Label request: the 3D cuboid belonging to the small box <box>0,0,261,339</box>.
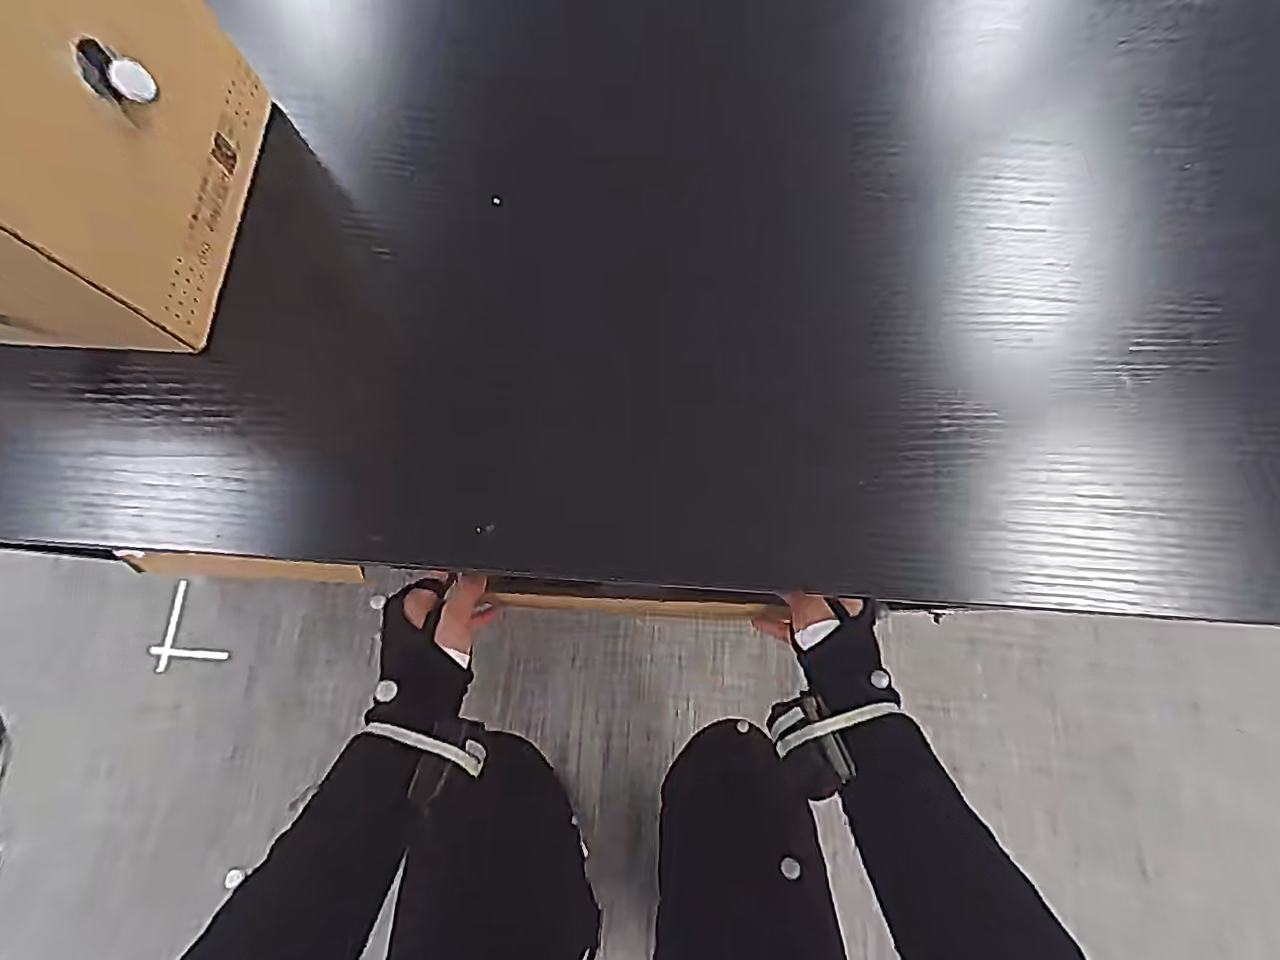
[{"bbox_3d":[-0.295,-0.168,0.209,0.179,0.176,0.168,3,75,0],"label":"small box"}]
